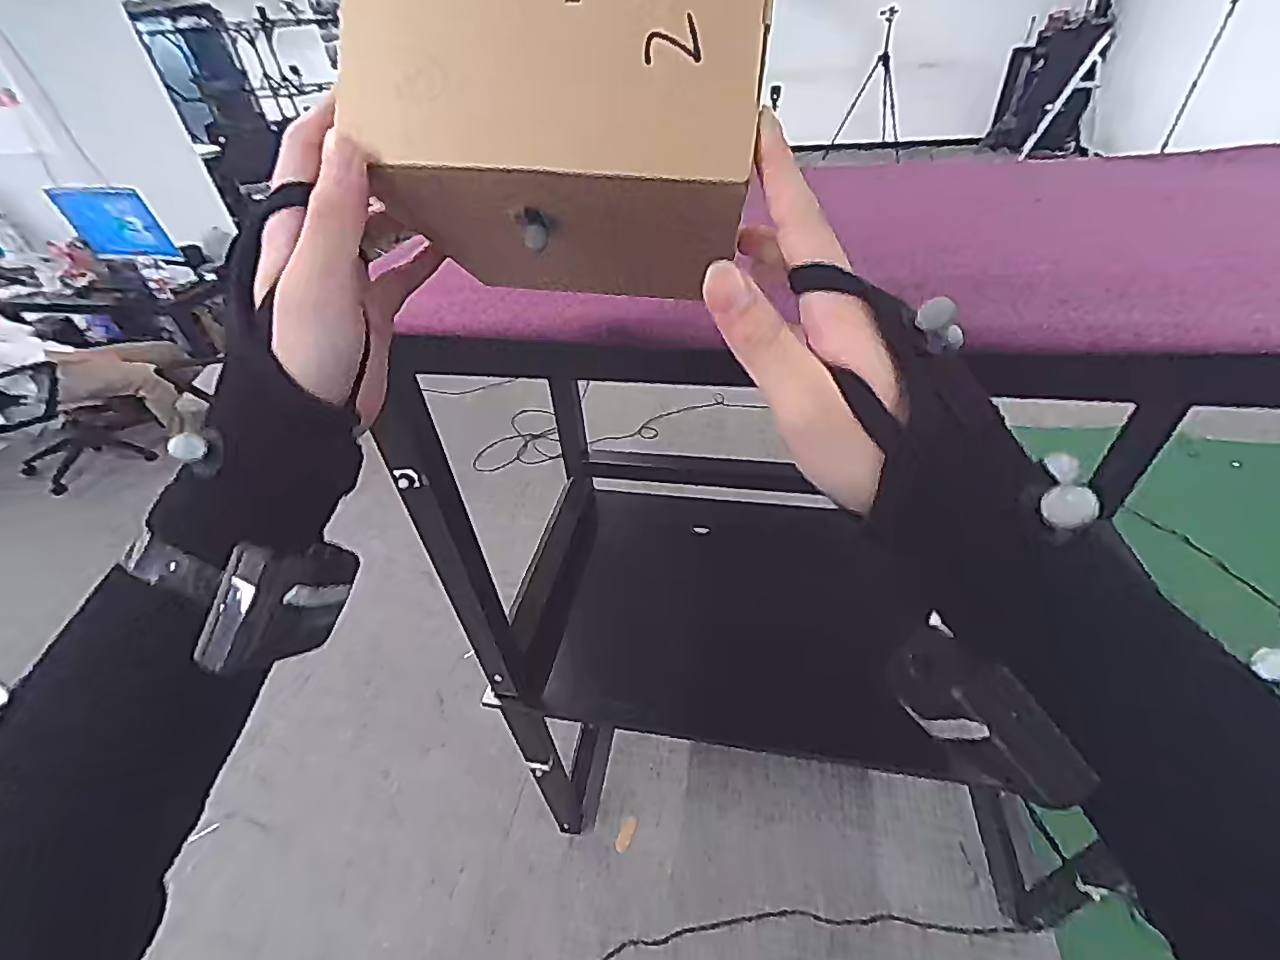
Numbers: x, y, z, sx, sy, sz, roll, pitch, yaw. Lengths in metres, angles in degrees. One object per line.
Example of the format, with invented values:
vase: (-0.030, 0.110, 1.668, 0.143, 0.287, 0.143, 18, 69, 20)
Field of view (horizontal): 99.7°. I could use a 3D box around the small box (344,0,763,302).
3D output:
small box: (-0.027, -0.208, 0.303, 0.179, 0.168, 0.176, 6, 3, 6)
